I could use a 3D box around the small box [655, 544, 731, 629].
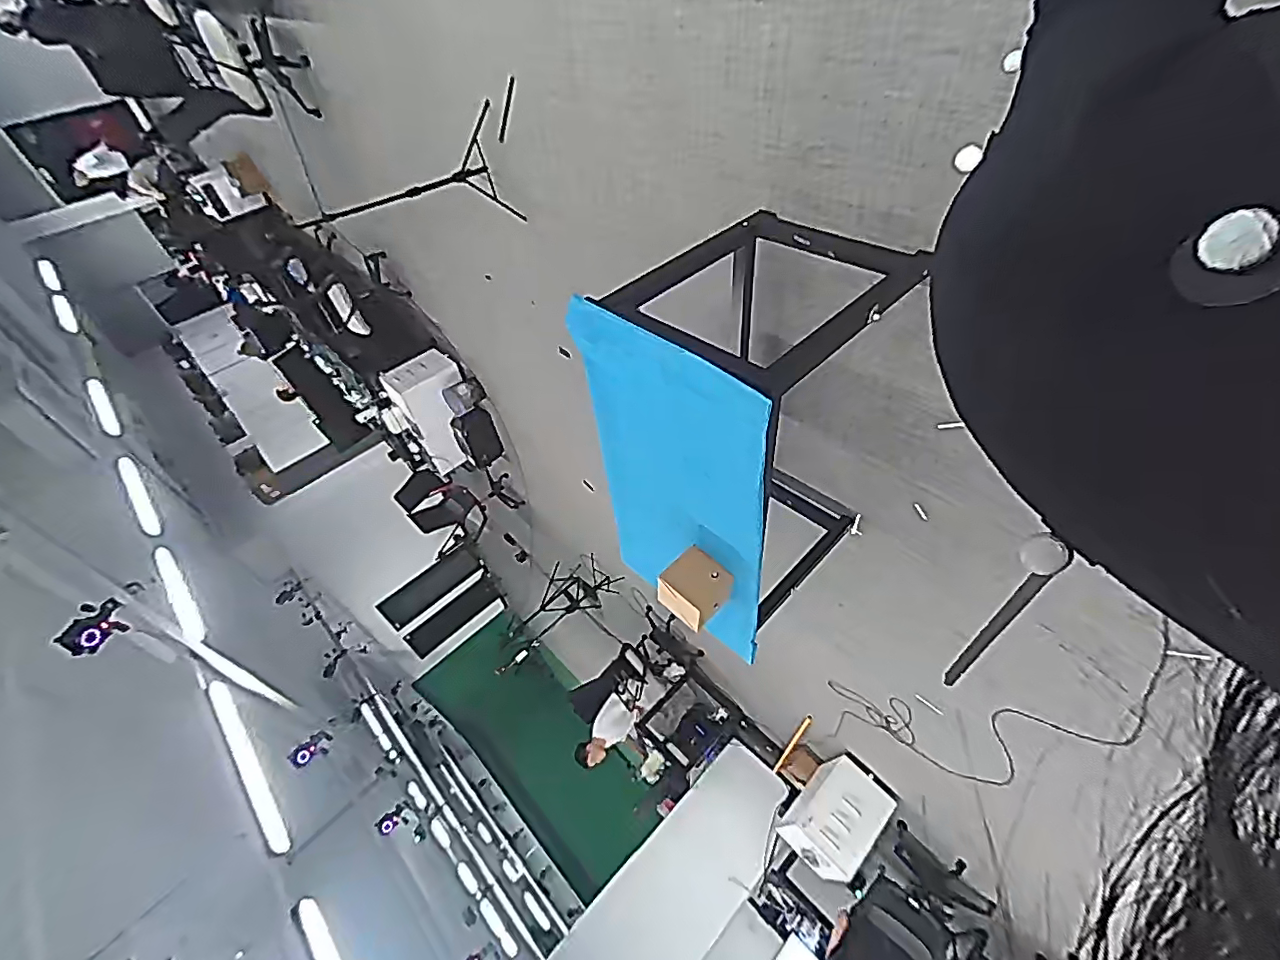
[{"bbox_3d":[0.171,0.349,1.755,0.179,0.176,0.168,36,150,27],"label":"small box"}]
